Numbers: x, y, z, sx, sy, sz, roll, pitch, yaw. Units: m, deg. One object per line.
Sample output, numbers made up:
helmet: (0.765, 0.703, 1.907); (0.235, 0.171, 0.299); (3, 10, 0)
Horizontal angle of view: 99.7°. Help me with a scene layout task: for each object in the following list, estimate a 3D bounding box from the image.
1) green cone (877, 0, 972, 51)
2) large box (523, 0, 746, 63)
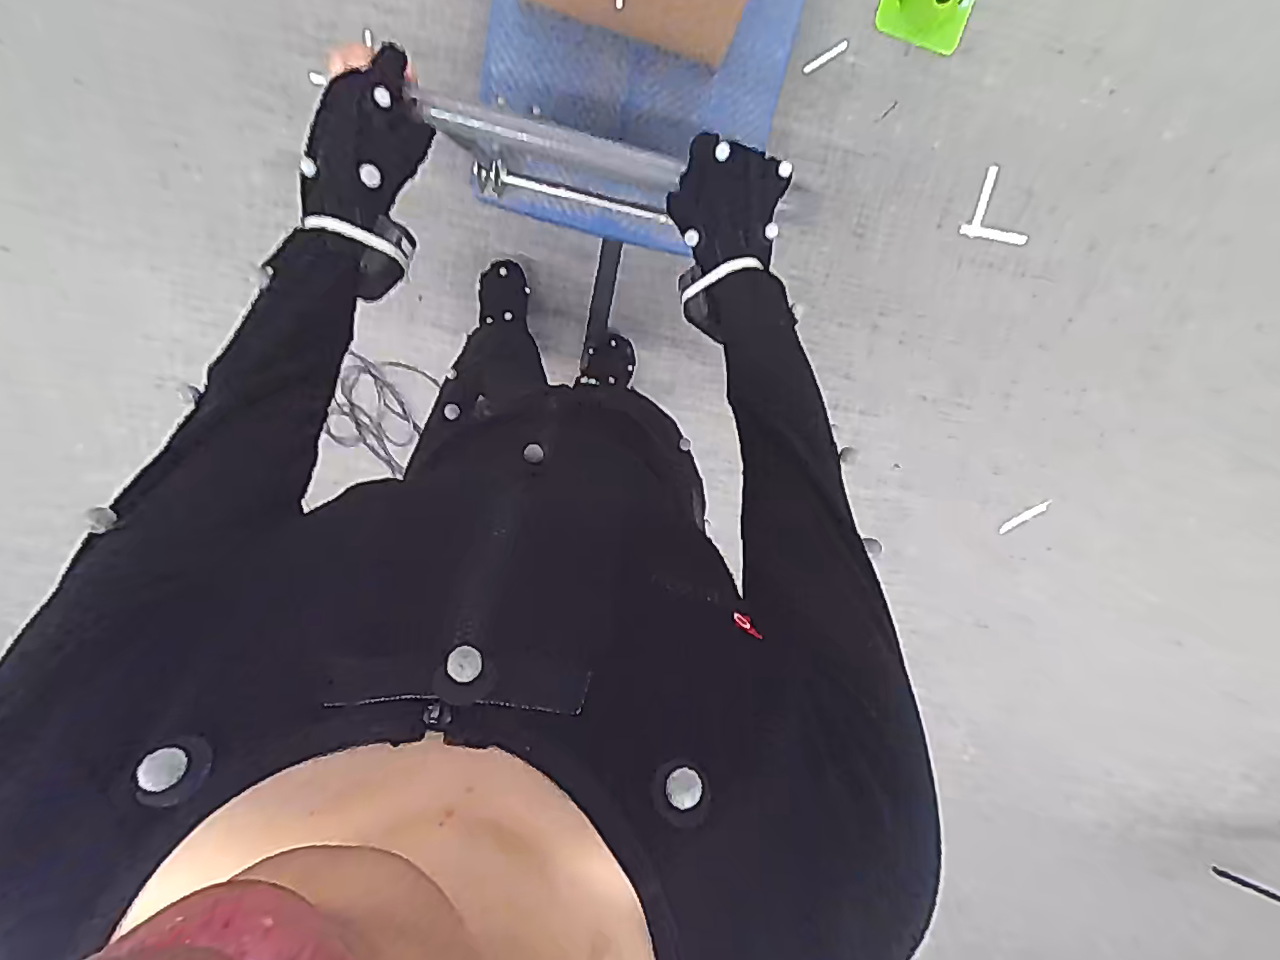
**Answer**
green cone: (0.645, -1.027, 1.019); (0.202, 0.368, 0.200); (14, 106, -8)
large box: (0.006, -0.958, 0.870); (0.408, 0.320, 0.320); (14, 107, -5)
